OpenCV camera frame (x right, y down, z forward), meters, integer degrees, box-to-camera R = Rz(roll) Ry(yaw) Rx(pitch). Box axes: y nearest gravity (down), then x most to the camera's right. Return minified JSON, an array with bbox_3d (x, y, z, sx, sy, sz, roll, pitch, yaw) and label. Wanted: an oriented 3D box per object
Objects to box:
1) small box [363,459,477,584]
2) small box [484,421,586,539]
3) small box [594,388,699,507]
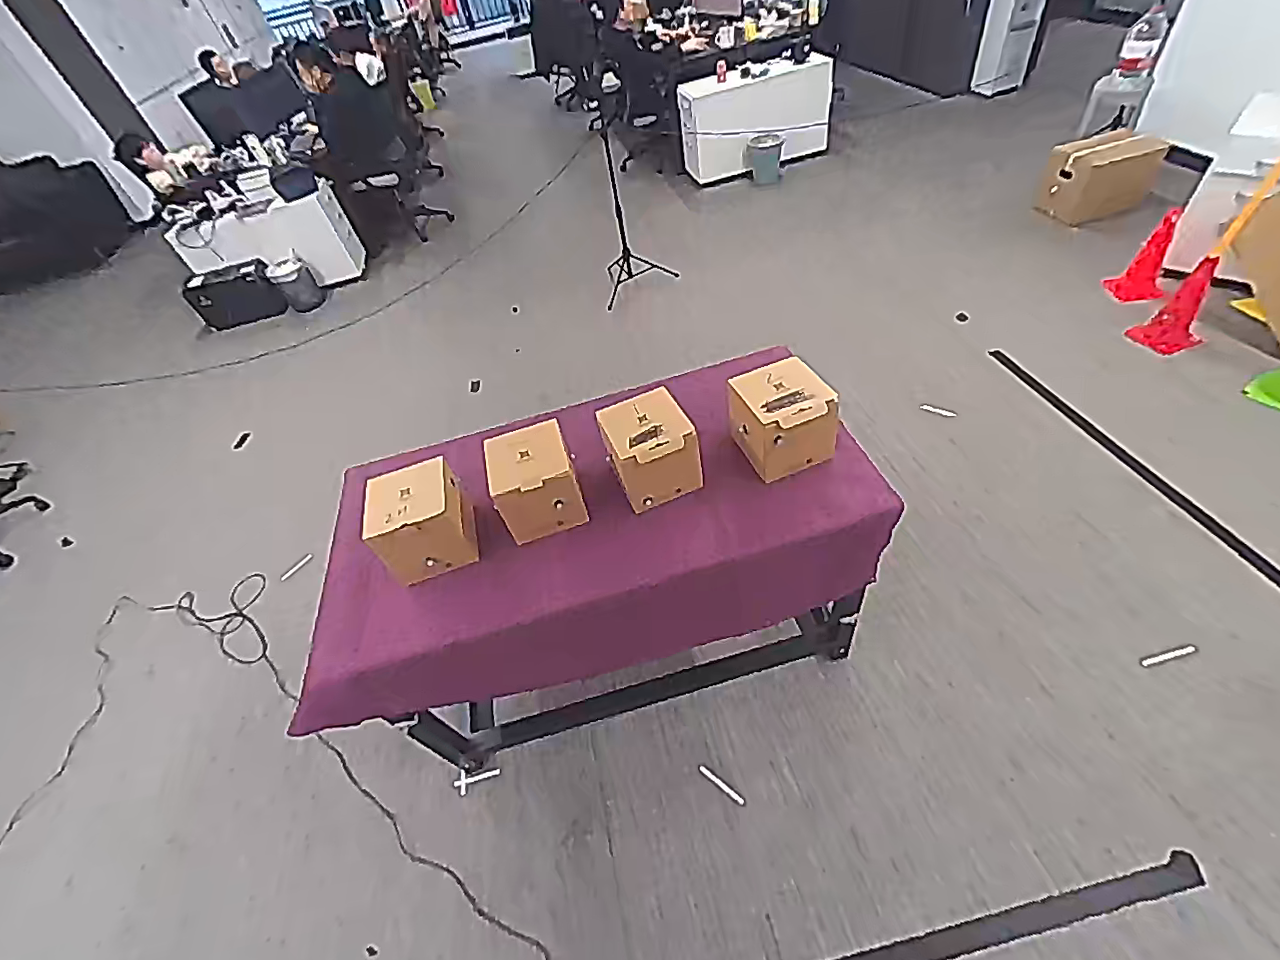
[{"bbox_3d":[-0.461,0.090,1.151,0.168,0.176,0.179,-20,47,-4],"label":"small box"},{"bbox_3d":[-0.226,0.007,1.175,0.168,0.176,0.179,-18,46,-4],"label":"small box"},{"bbox_3d":[0.017,-0.063,1.179,0.168,0.176,0.179,-22,47,-8],"label":"small box"}]
